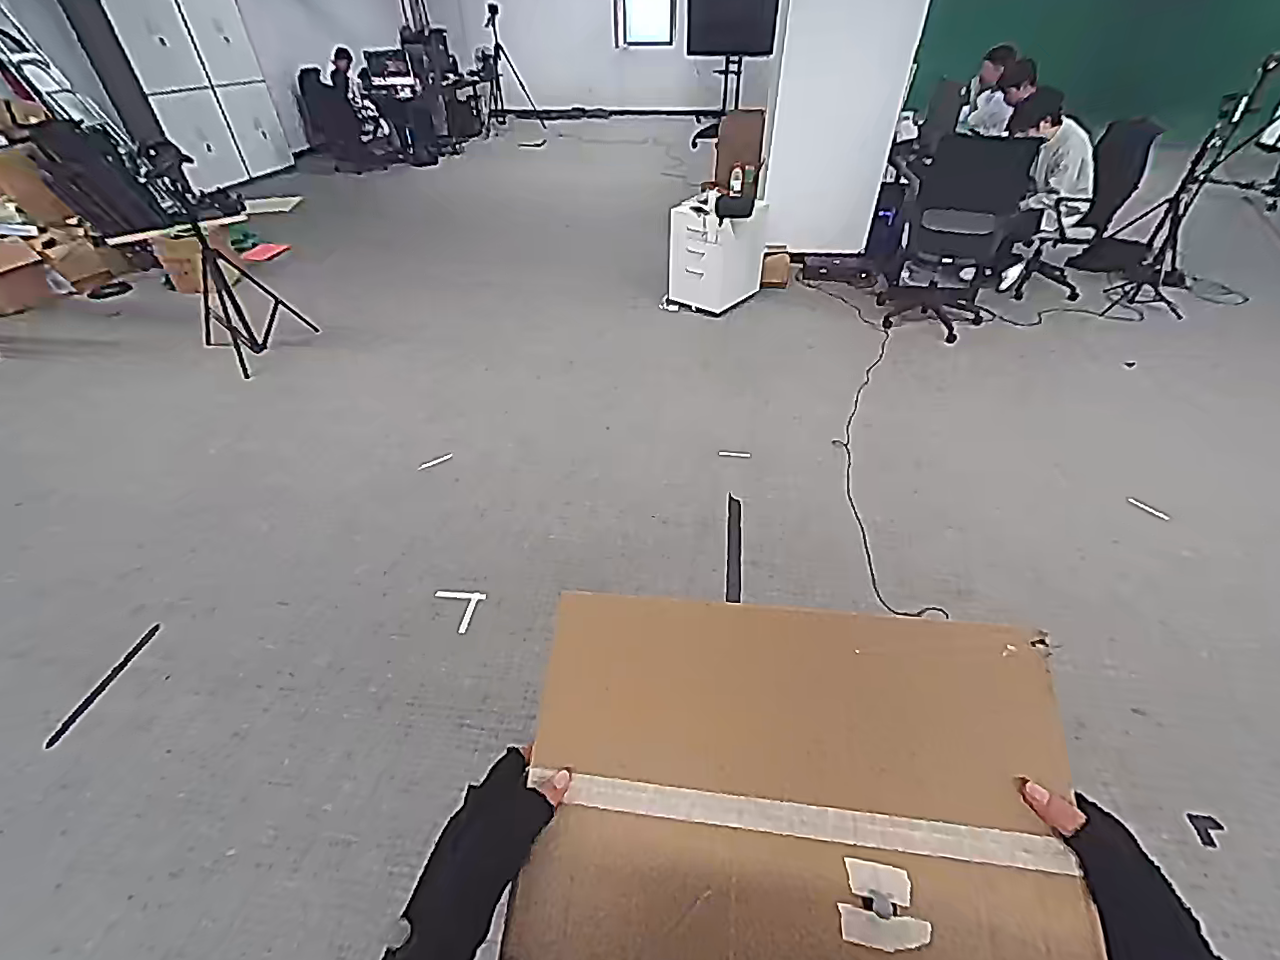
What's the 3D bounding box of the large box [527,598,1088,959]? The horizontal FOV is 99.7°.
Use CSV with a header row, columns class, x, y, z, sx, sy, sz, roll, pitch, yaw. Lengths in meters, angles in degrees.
class,x,y,z,sx,sy,sz,roll,pitch,yaw
large box,0.142,0.320,0.566,0.408,0.320,0.320,2,67,12
